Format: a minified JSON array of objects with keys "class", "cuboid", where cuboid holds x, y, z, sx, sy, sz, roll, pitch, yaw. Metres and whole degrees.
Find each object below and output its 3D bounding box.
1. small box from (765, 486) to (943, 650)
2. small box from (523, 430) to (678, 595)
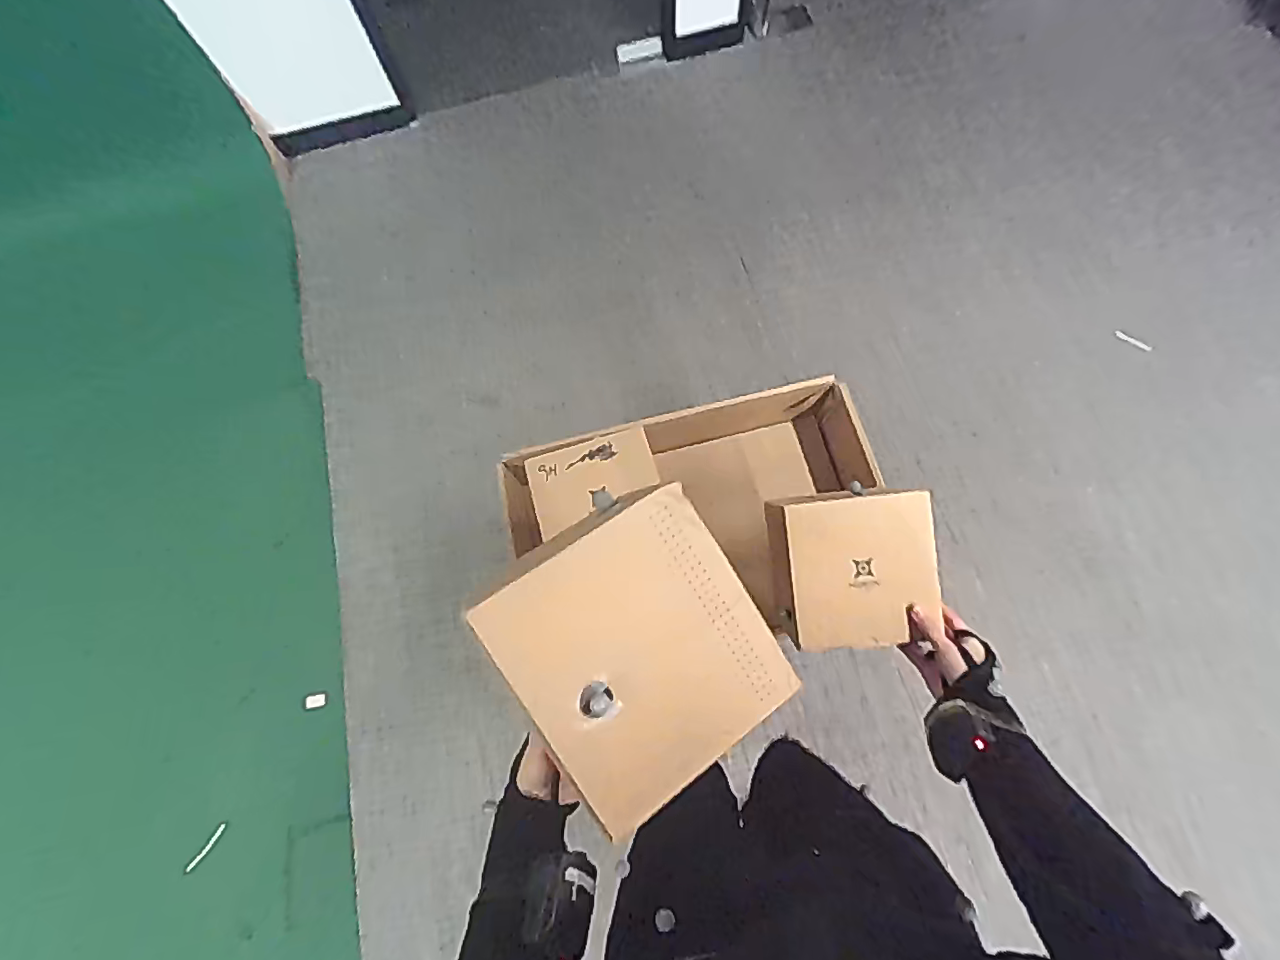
[{"class":"small box","cuboid":[0.261,0.102,0.698,0.168,0.176,0.179,-7,91,6]},{"class":"small box","cuboid":[-0.047,0.056,0.756,0.168,0.176,0.179,-16,73,-1]}]
